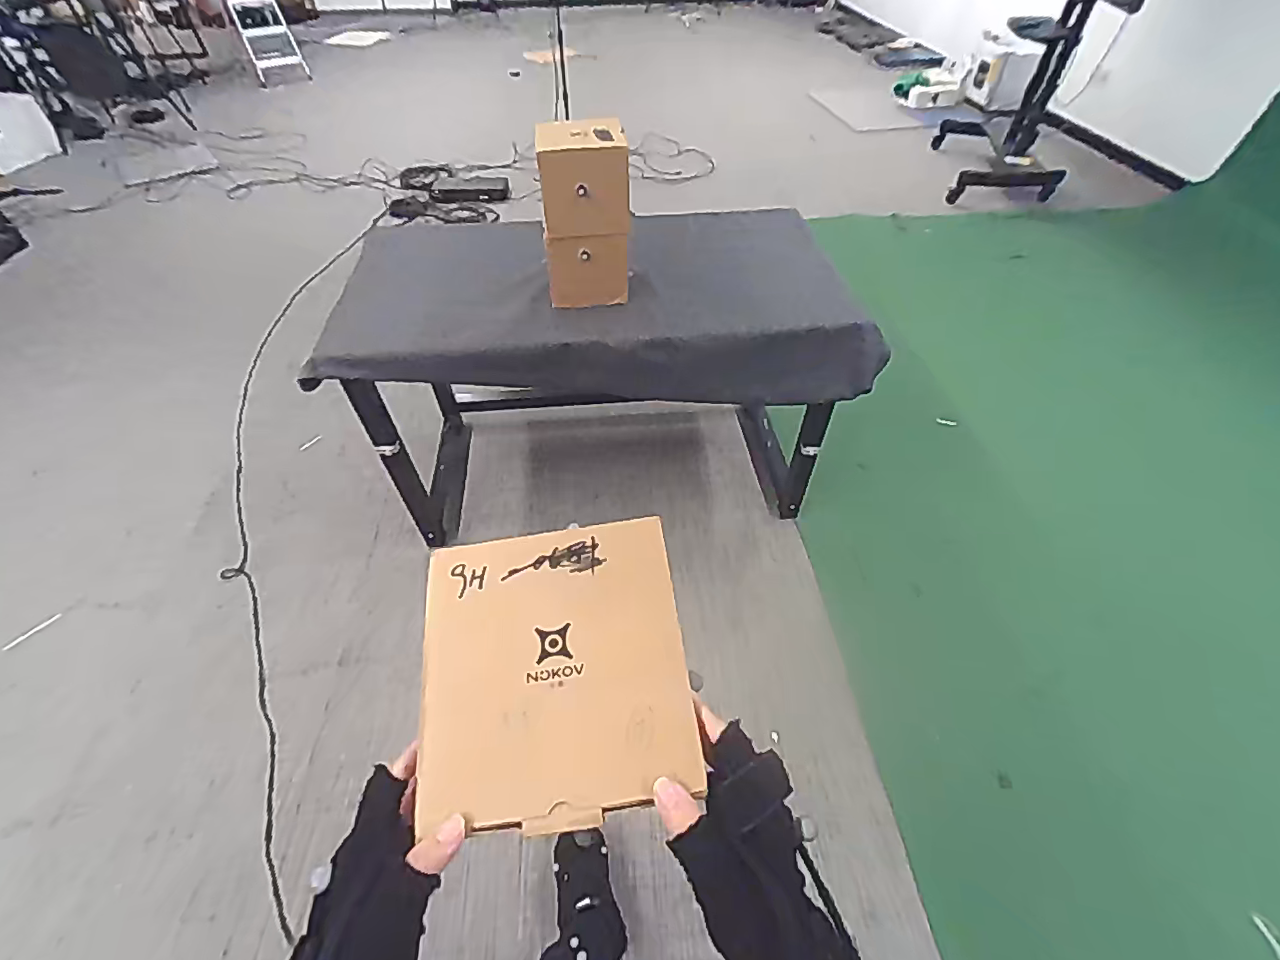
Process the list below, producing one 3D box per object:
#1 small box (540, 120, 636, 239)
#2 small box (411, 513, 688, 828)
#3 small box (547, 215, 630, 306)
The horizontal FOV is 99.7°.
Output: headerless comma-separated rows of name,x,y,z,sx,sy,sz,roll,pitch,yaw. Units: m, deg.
small box,-0.107,-0.617,1.114,0.179,0.176,0.168,-7,50,-7
small box,-0.055,0.147,0.416,0.168,0.176,0.179,-8,61,-1
small box,-0.115,-0.514,1.241,0.179,0.176,0.168,-4,50,-5
